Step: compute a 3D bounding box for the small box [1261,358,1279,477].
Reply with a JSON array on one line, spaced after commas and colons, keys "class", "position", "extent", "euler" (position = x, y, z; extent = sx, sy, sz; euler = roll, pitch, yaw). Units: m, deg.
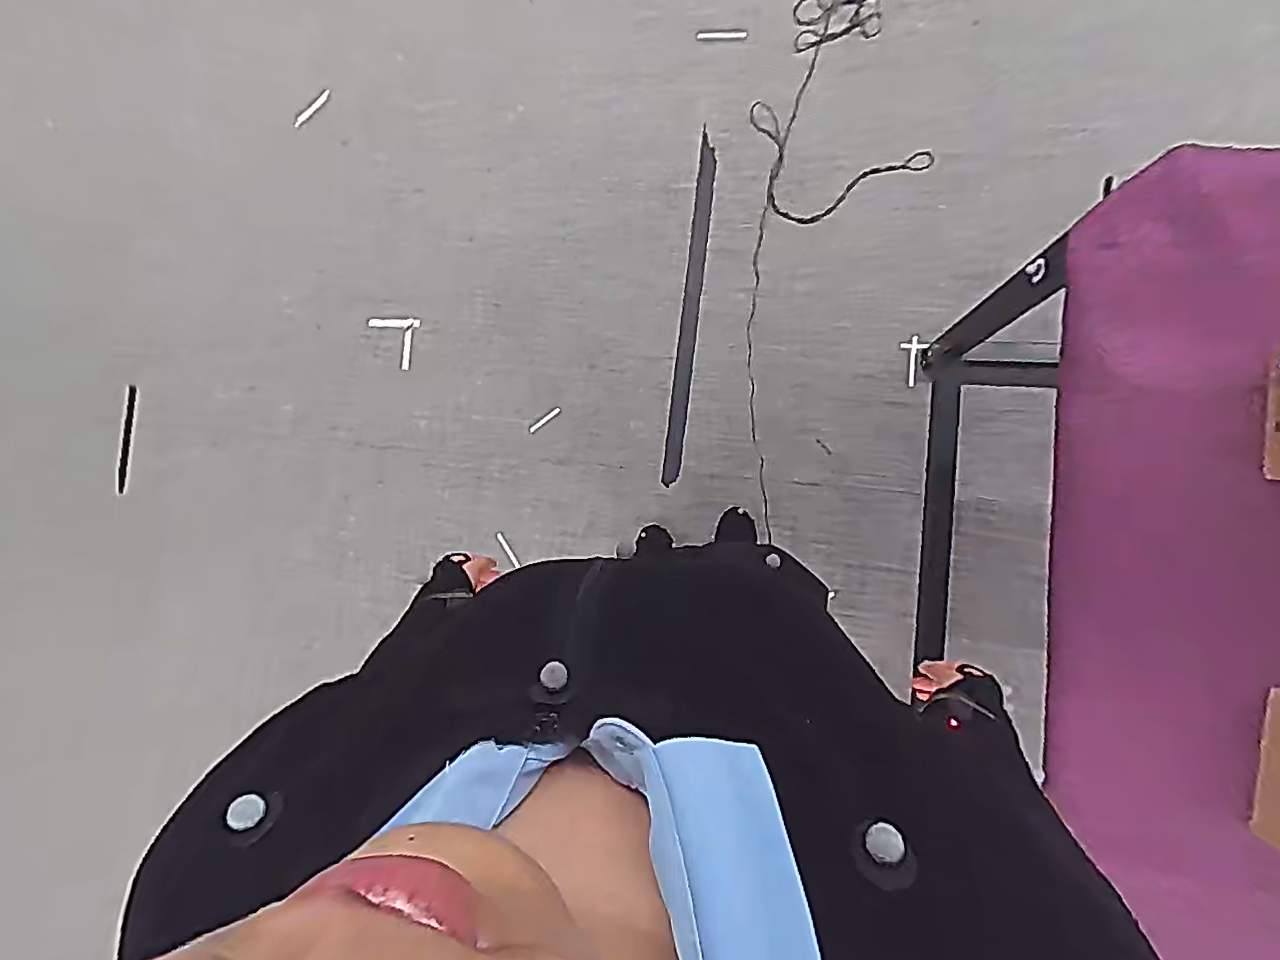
[{"class": "small box", "position": [0.839, -0.080, 0.576], "extent": [0.179, 0.176, 0.168], "euler": [6, 88, 9]}]
